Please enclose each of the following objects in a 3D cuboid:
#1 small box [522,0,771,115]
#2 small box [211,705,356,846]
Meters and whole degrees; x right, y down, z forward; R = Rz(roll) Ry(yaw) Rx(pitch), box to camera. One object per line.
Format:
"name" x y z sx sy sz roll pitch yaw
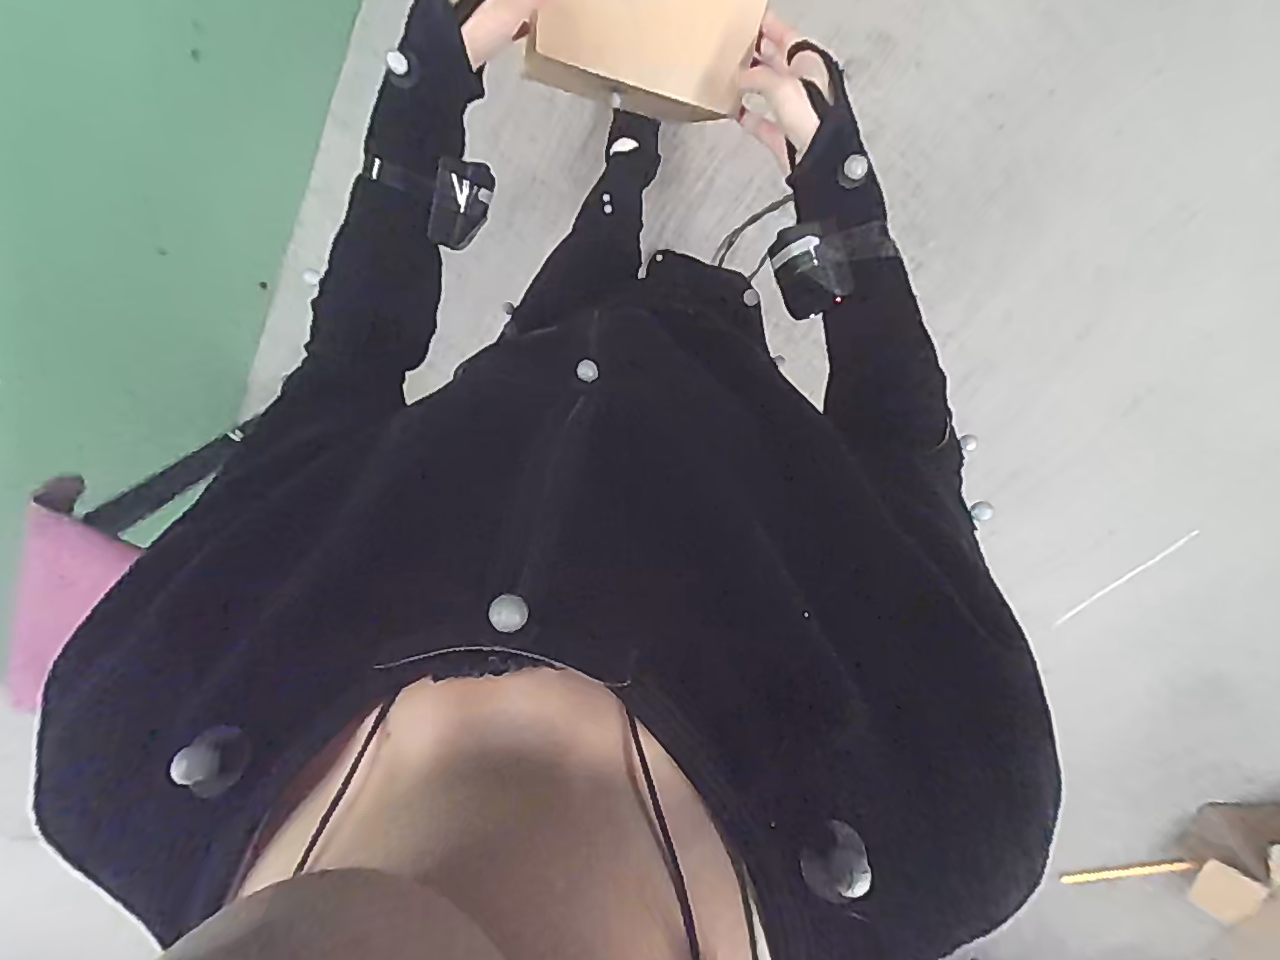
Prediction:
"small box" 0.001 -0.424 0.453 0.179 0.176 0.168 4 120 -20
"small box" -0.722 0.603 1.112 0.168 0.176 0.179 34 117 -14
